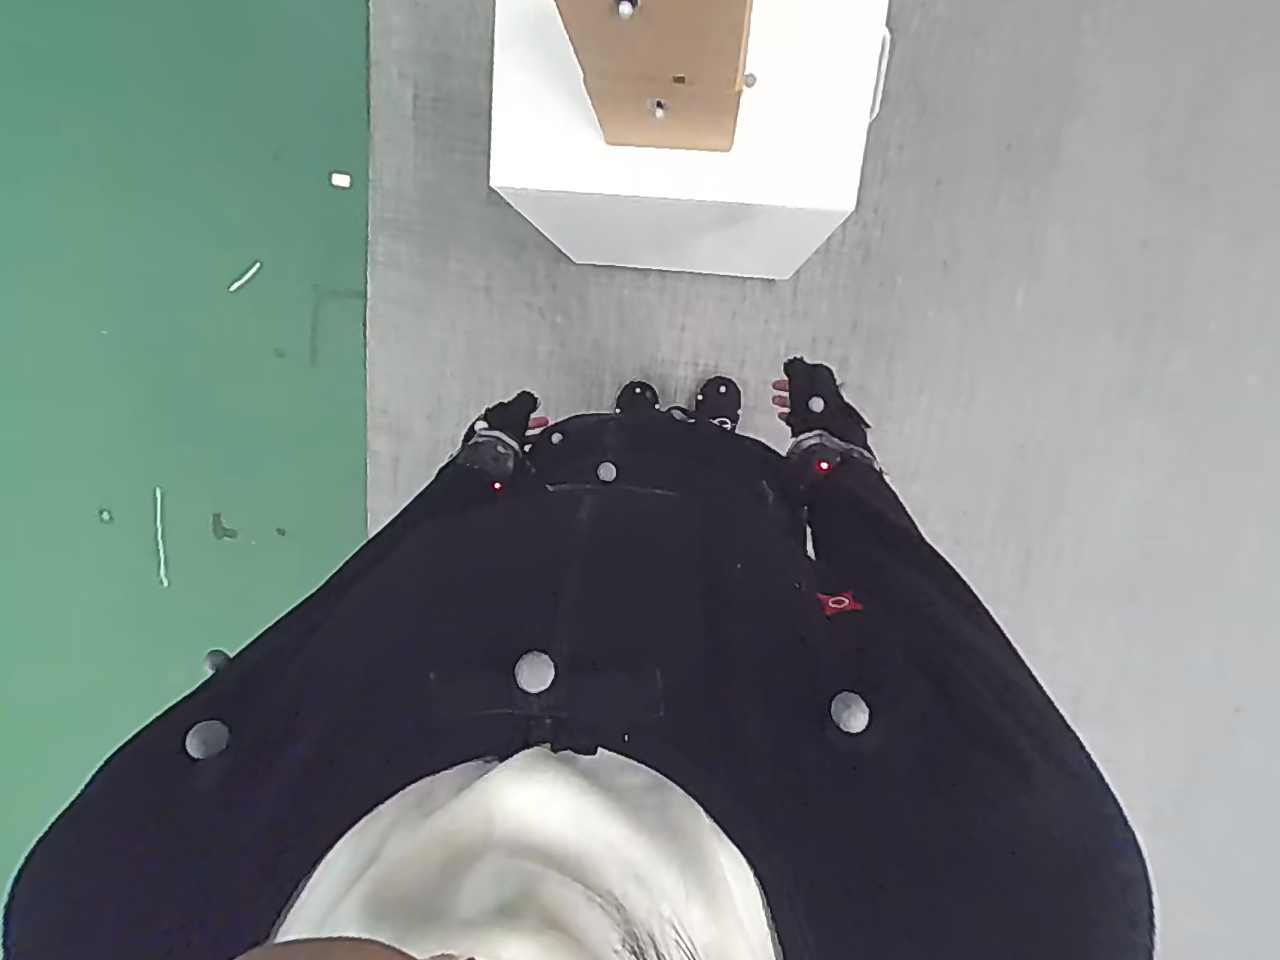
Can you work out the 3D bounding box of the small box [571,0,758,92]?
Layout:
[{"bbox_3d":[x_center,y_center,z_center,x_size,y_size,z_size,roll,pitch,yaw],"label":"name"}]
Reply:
[{"bbox_3d":[0.026,-0.492,0.487,0.168,0.176,0.179,5,102,5],"label":"small box"}]

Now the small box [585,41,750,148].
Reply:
[{"bbox_3d":[0.041,-0.520,0.645,0.179,0.176,0.168,6,102,5],"label":"small box"}]
